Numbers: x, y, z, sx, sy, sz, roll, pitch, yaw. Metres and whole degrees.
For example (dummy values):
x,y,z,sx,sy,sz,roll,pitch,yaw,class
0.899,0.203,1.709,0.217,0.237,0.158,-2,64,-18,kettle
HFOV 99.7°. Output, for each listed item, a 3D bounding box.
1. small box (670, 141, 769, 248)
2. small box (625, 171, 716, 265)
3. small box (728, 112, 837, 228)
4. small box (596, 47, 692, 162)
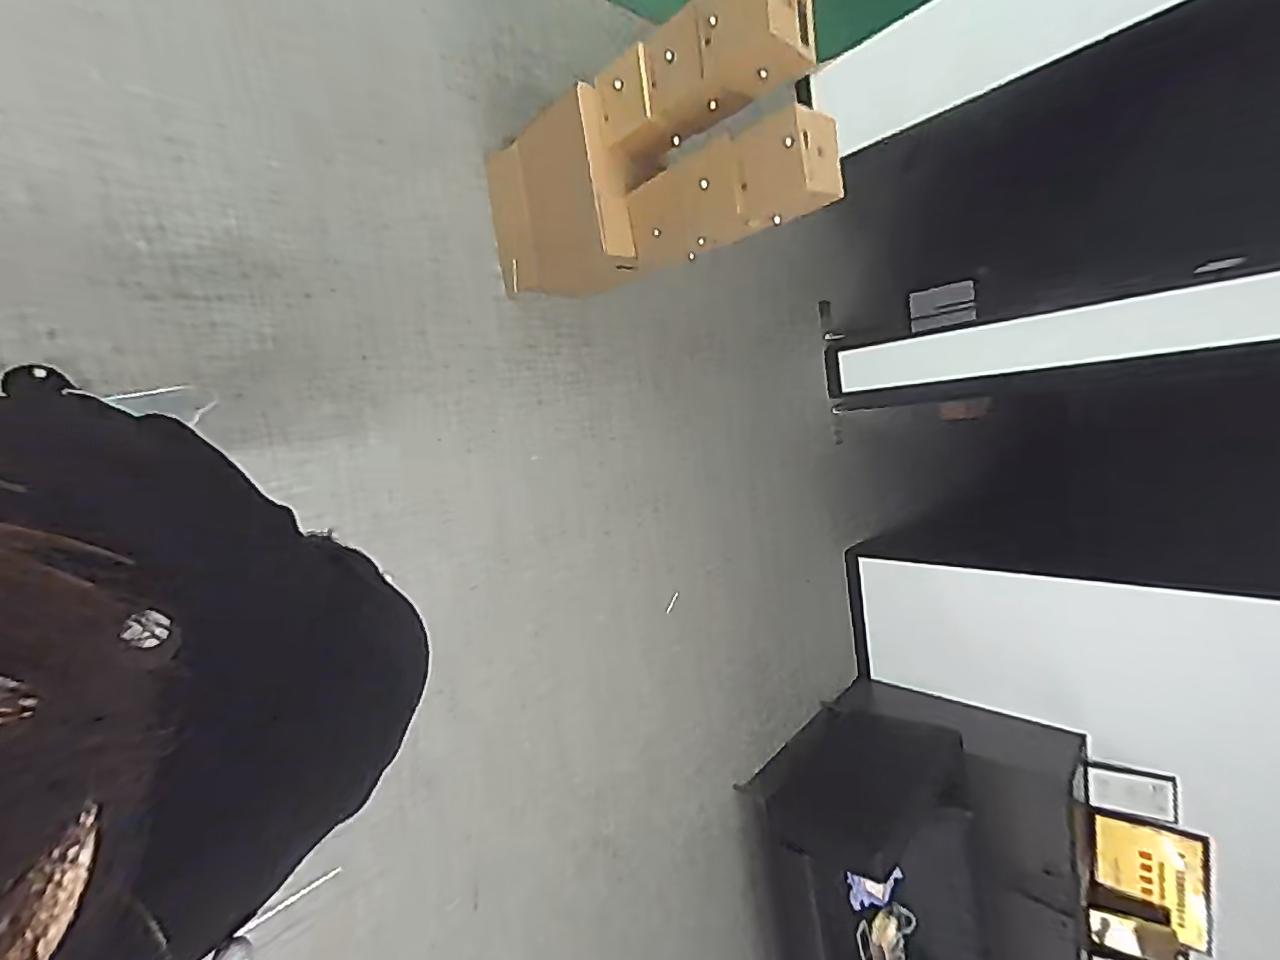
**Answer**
x,y,z,sx,sy,sz,roll,pitch,yaw,class
0.196,-0.687,1.327,0.168,0.176,0.179,-17,100,-43,small box
0.082,-0.688,1.445,0.168,0.176,0.179,-18,101,-43,small box
0.321,-0.685,1.219,0.179,0.176,0.168,-20,103,-43,small box
0.004,-0.934,1.366,0.179,0.176,0.168,-15,102,-43,small box
